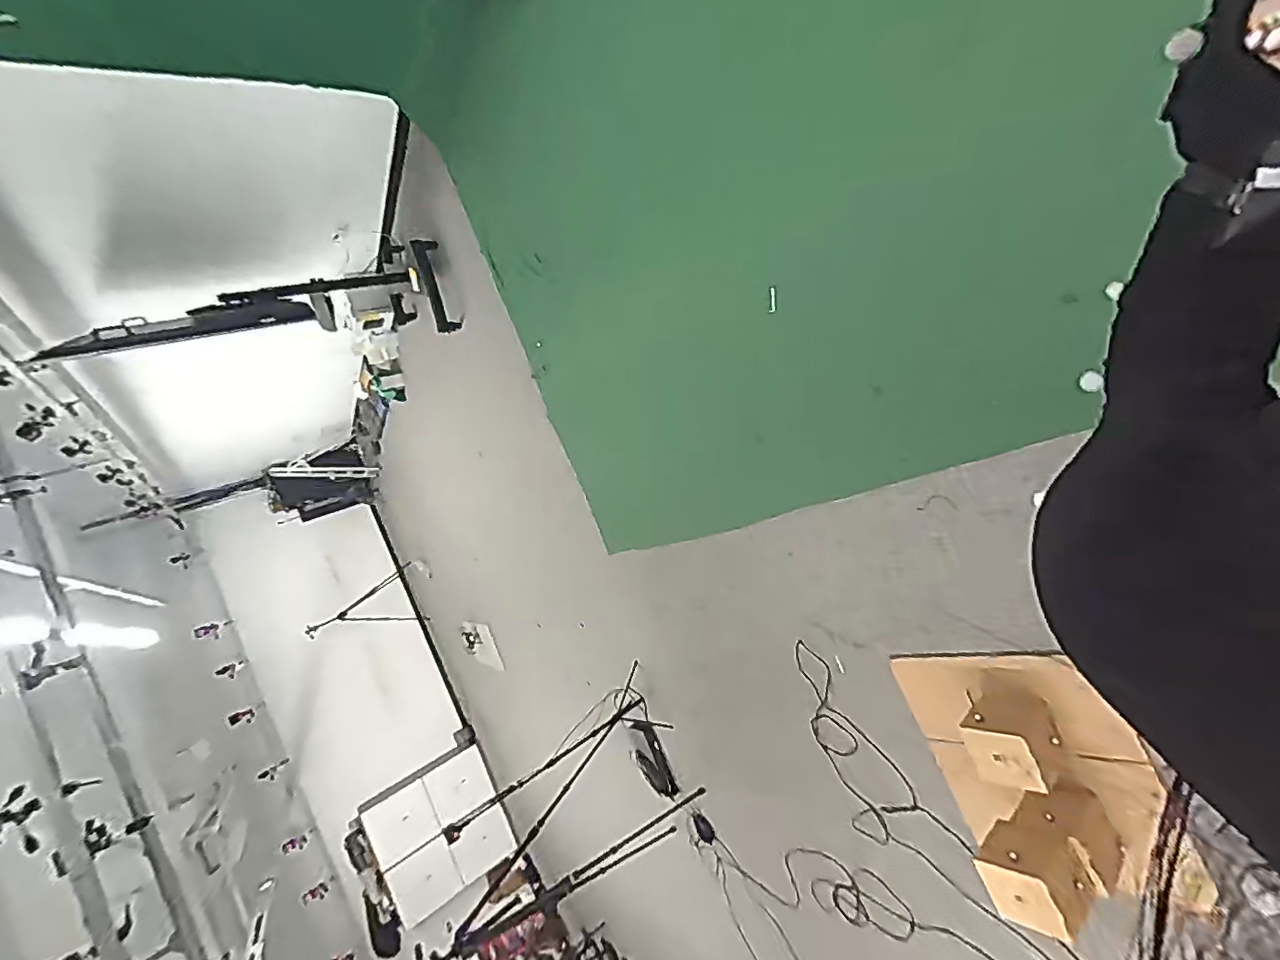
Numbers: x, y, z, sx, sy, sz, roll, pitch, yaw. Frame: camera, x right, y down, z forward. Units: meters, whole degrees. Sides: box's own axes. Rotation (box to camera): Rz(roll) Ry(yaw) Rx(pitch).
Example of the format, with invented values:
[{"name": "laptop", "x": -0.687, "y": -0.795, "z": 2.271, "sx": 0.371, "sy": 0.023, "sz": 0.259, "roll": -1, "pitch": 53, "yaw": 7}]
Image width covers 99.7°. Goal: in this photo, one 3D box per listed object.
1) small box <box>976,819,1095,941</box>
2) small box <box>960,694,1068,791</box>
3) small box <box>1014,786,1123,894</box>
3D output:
[{"name": "small box", "x": 1.029, "y": 1.025, "z": 1.408, "sx": 0.179, "sy": 0.176, "sz": 0.168, "roll": -31, "pitch": 83, "yaw": 56}, {"name": "small box", "x": 1.044, "y": 0.721, "z": 1.509, "sx": 0.179, "sy": 0.176, "sz": 0.168, "roll": -24, "pitch": 90, "yaw": 56}, {"name": "small box", "x": 1.170, "y": 0.968, "z": 1.474, "sx": 0.179, "sy": 0.176, "sz": 0.168, "roll": -36, "pitch": 79, "yaw": 56}]
